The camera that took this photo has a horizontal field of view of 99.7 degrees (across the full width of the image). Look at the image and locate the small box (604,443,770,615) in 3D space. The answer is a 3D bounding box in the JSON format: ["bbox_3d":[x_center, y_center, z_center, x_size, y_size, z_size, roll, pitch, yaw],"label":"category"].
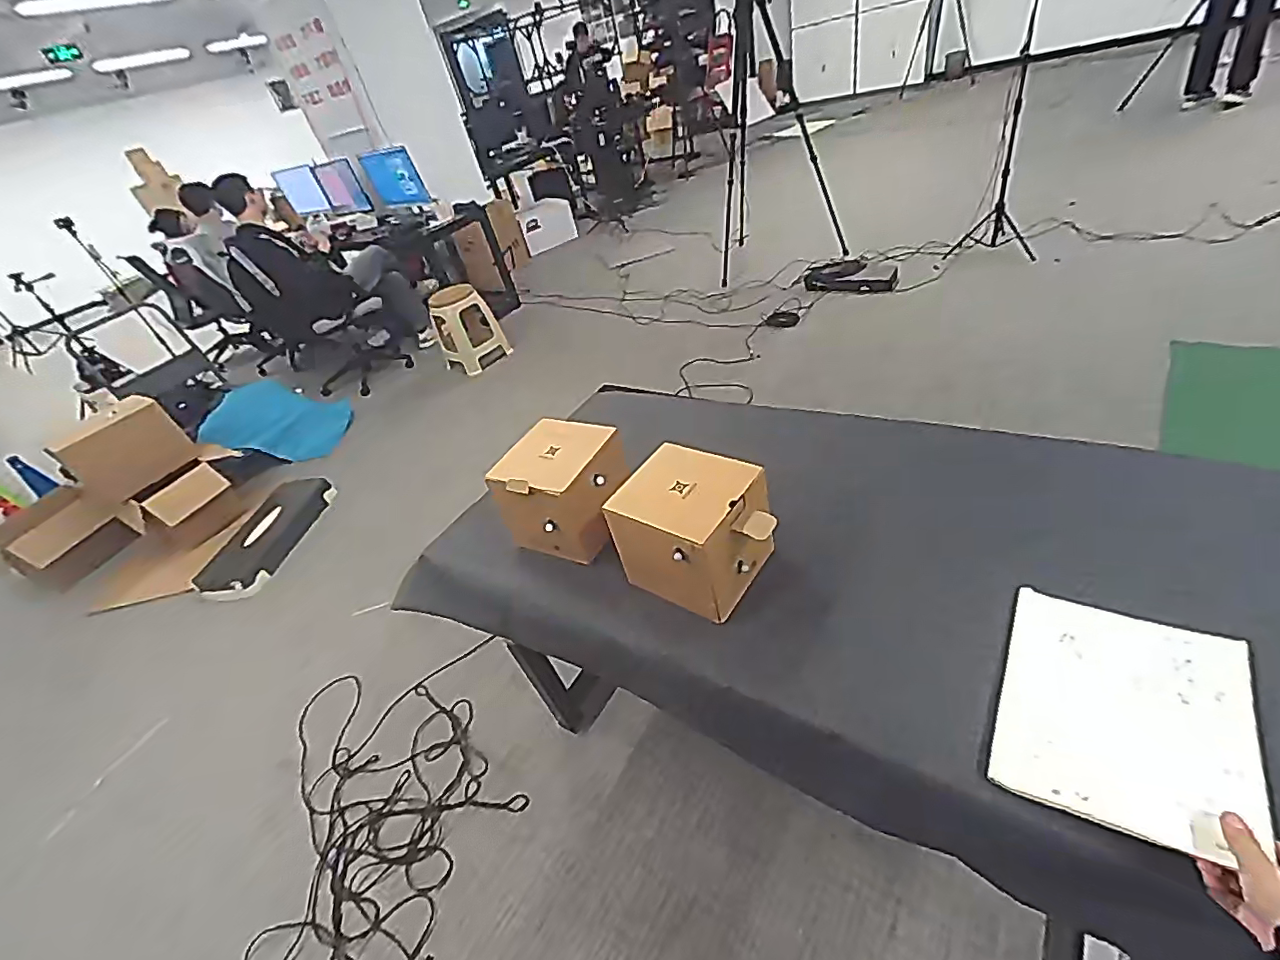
[{"bbox_3d":[0.077,0.071,0.808,0.179,0.176,0.168,18,49,35],"label":"small box"}]

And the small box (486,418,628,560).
[{"bbox_3d":[-0.130,0.014,0.953,0.168,0.176,0.179,11,44,29],"label":"small box"}]
